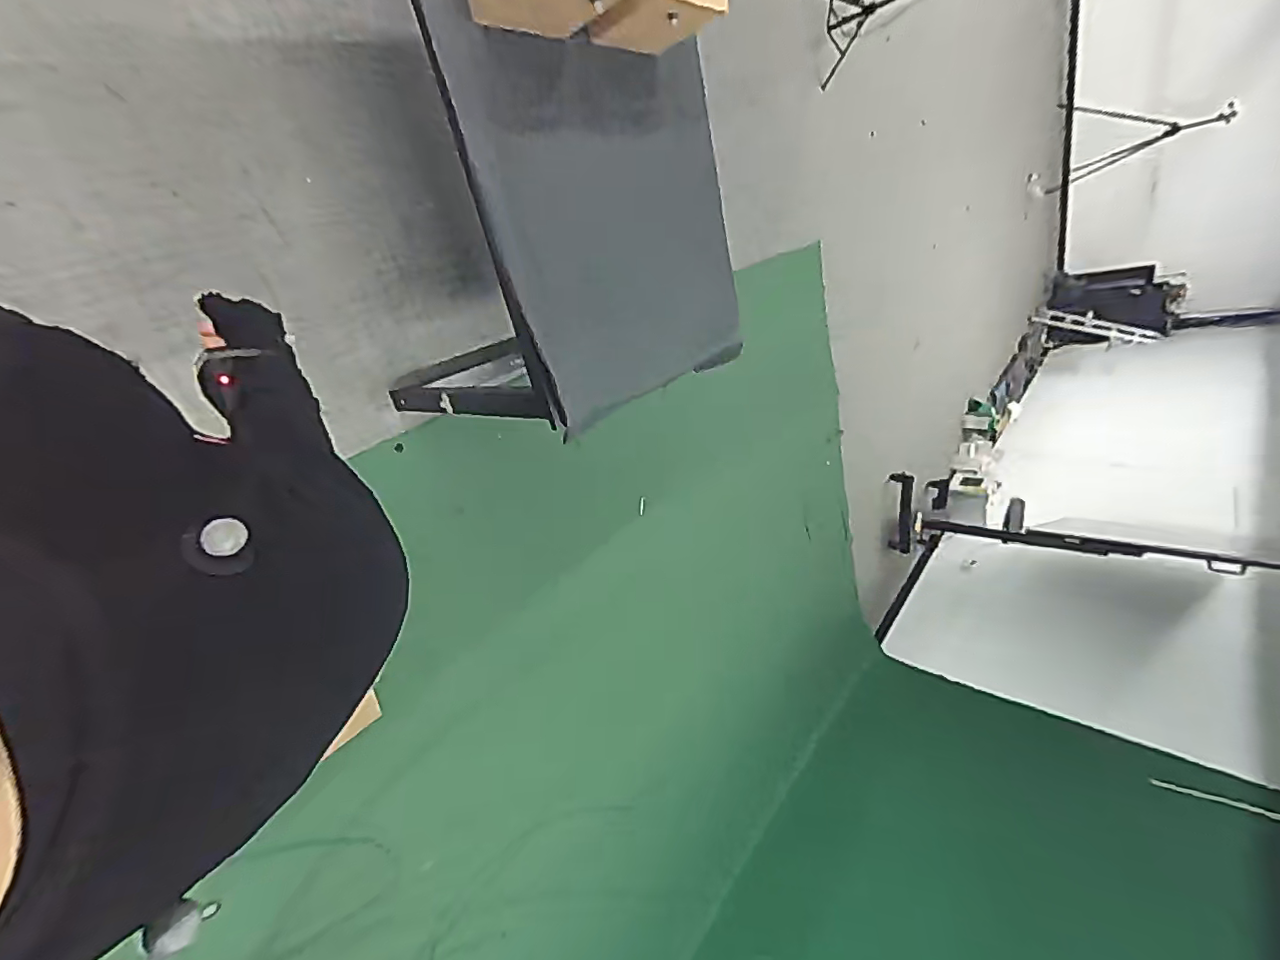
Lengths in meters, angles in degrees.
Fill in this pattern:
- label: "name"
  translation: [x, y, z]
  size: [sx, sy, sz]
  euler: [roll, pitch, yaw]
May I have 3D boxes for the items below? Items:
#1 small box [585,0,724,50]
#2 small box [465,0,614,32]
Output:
- label: "small box"
  translation: [0.012, -0.840, 0.884]
  size: [0.179, 0.176, 0.168]
  euler: [-30, 119, -40]
- label: "small box"
  translation: [-0.140, -0.750, 0.738]
  size: [0.179, 0.176, 0.168]
  euler: [-31, 119, -40]
